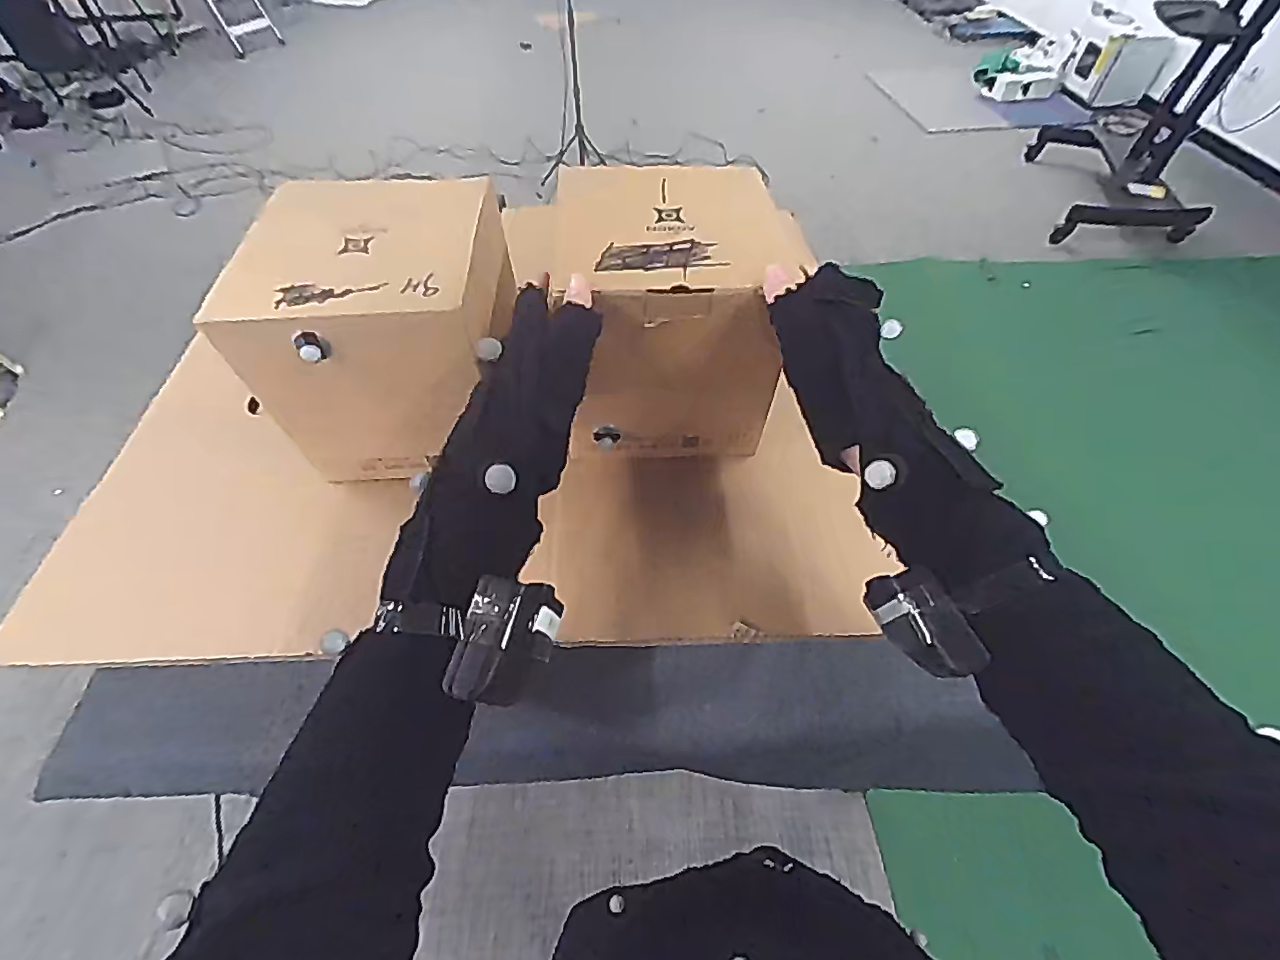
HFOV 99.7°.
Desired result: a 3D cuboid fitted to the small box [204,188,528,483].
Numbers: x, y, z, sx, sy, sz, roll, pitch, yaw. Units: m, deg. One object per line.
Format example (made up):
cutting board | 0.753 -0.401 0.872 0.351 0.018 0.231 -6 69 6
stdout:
small box | -0.195 -0.117 0.454 0.168 0.176 0.179 -4 52 1
